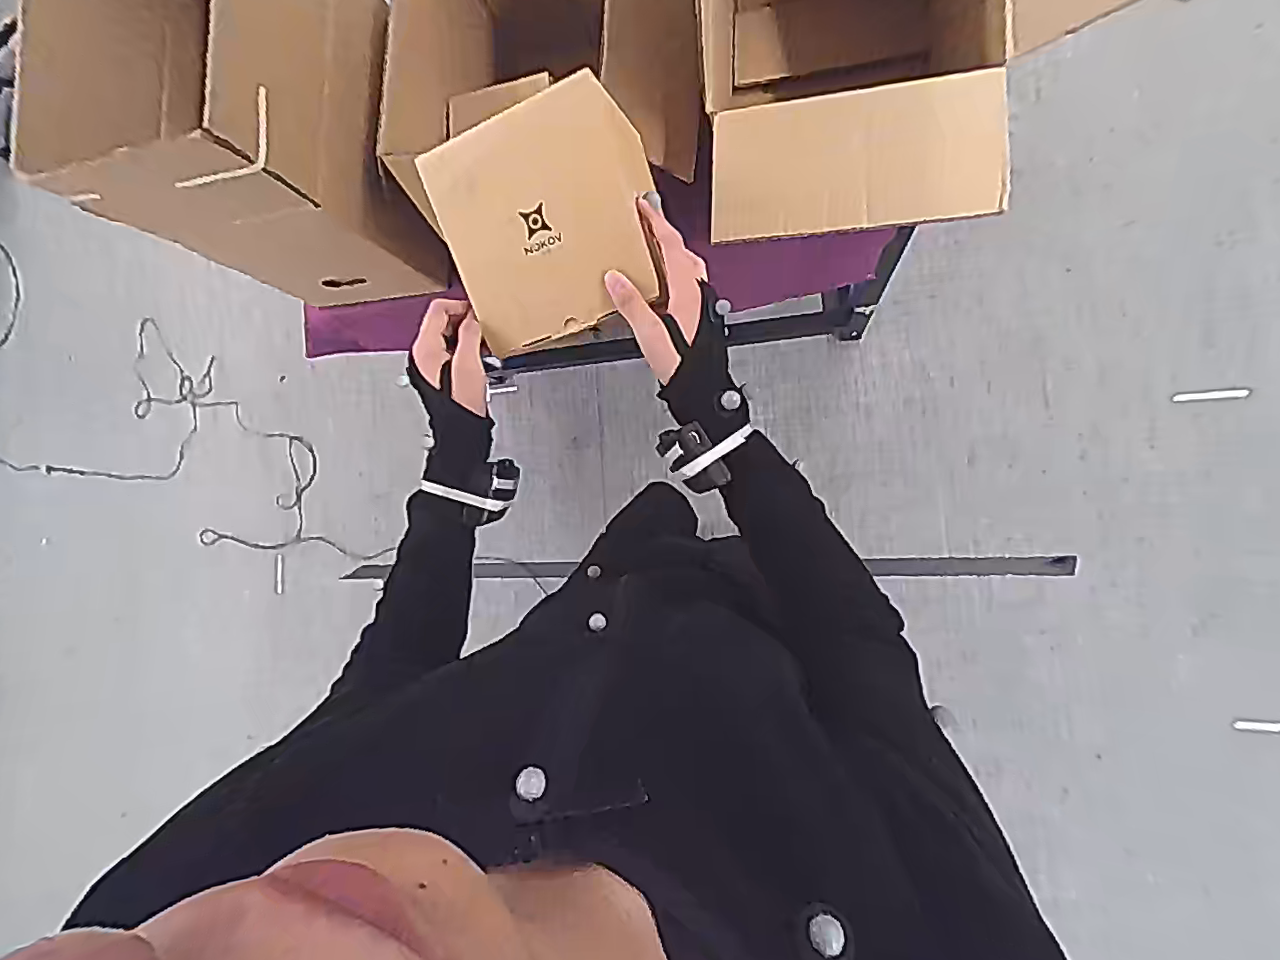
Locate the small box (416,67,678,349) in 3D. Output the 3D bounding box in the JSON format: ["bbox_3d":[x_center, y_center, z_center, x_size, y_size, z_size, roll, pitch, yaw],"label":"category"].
[{"bbox_3d":[-0.072,-0.241,0.524,0.168,0.176,0.179,-15,106,17],"label":"small box"}]
